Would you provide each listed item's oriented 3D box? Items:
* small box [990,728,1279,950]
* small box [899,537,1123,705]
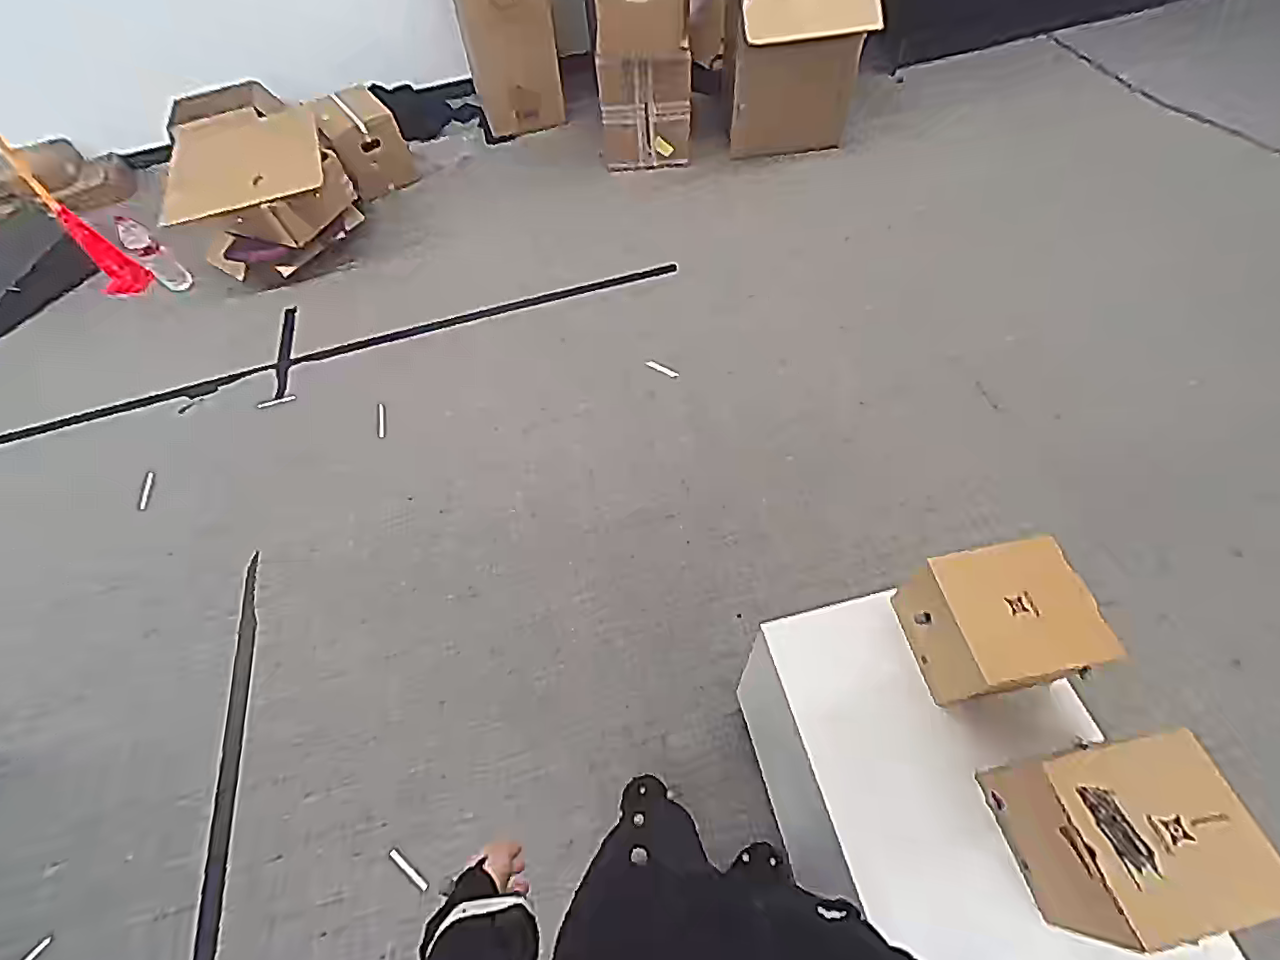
[{"bbox_3d":[0.543,0.401,0.619,0.179,0.176,0.168,-13,58,-3],"label":"small box"},{"bbox_3d":[0.485,0.201,0.749,0.179,0.176,0.168,-11,59,-1],"label":"small box"}]
